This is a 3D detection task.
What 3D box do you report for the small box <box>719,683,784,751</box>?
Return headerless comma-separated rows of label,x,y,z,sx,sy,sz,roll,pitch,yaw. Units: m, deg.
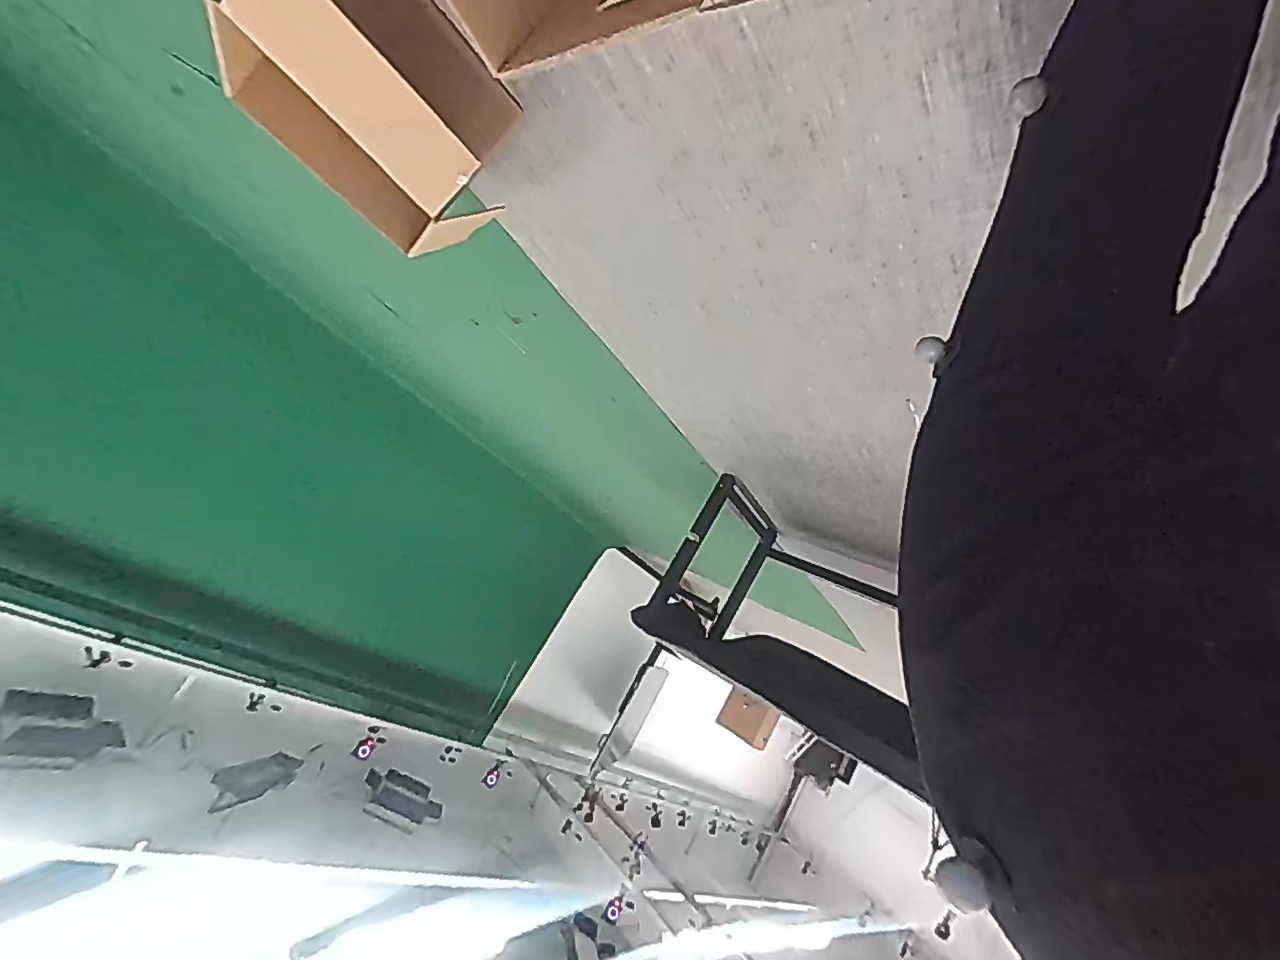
small box,0.440,0.922,2.108,0.168,0.176,0.179,22,162,38
